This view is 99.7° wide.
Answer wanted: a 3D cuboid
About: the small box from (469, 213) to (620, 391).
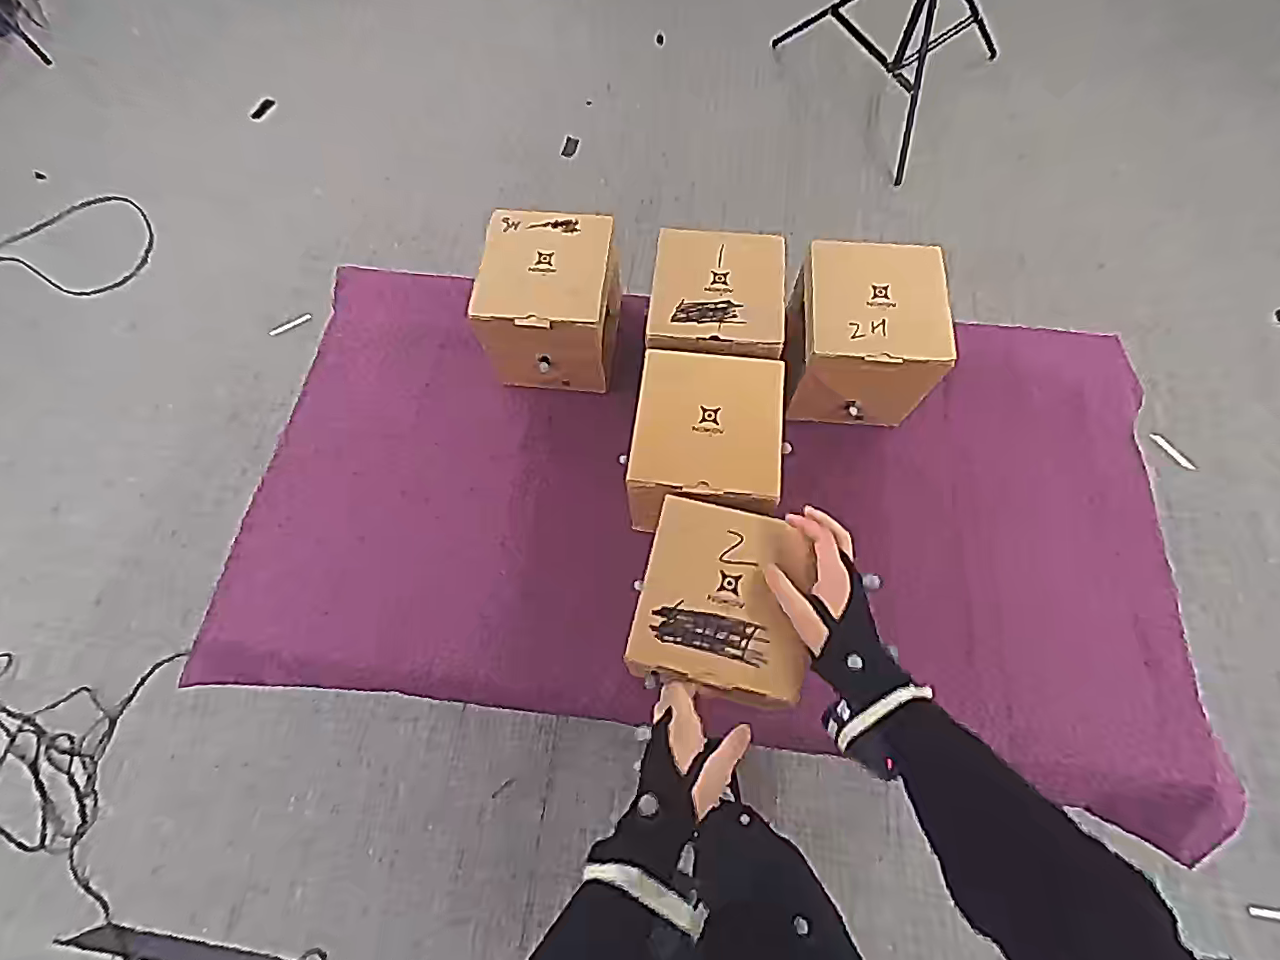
[{"bbox_3d":[-0.121,-0.242,0.766,0.168,0.176,0.179,5,71,3],"label":"small box"}]
